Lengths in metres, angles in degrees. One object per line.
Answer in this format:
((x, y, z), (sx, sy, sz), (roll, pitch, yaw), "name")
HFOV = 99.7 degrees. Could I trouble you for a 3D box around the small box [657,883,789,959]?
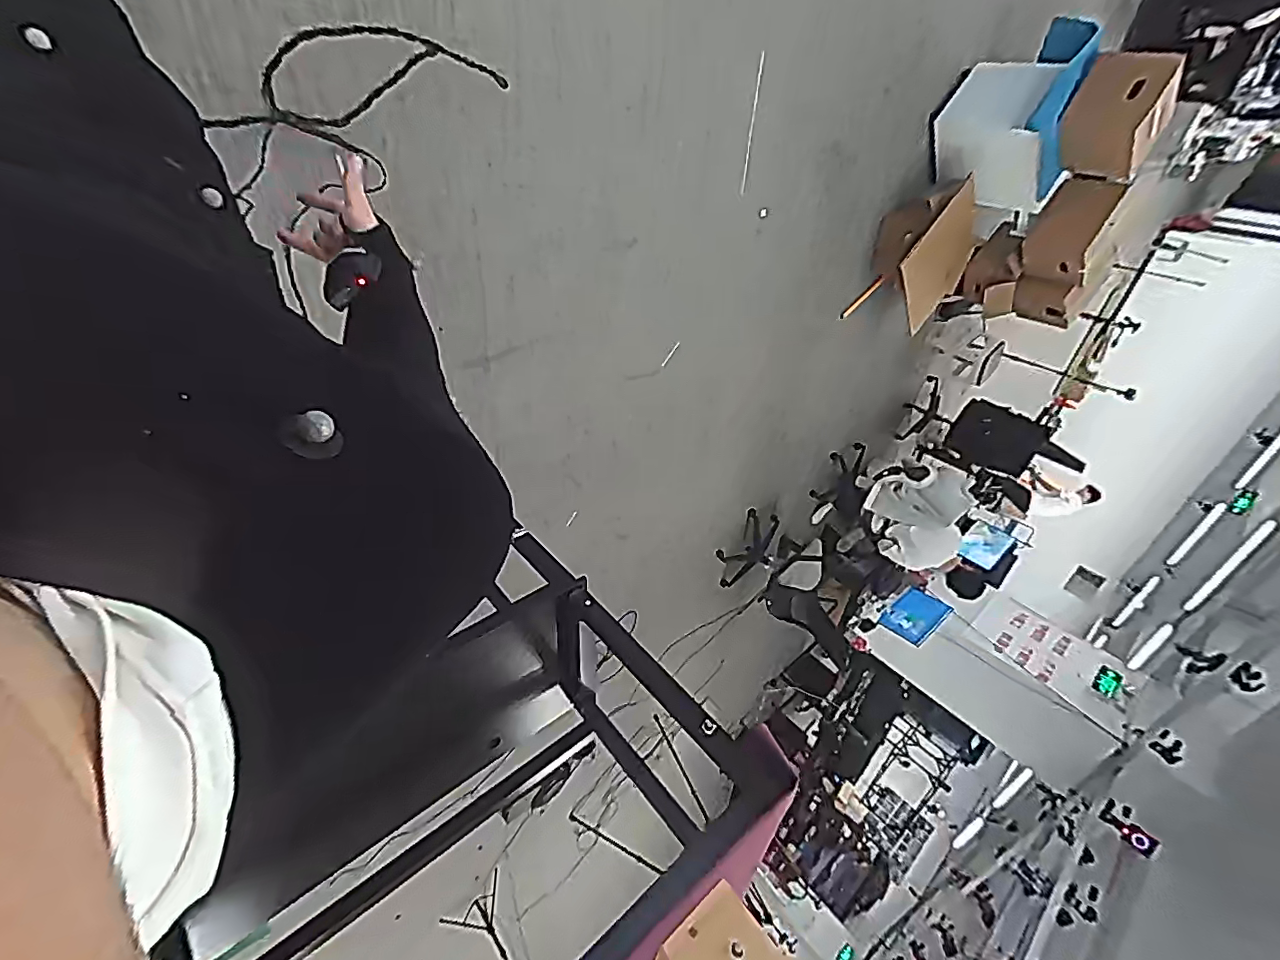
((0.143, 0.895, 0.993), (0.168, 0.176, 0.179), (-25, 137, -34), "small box")
